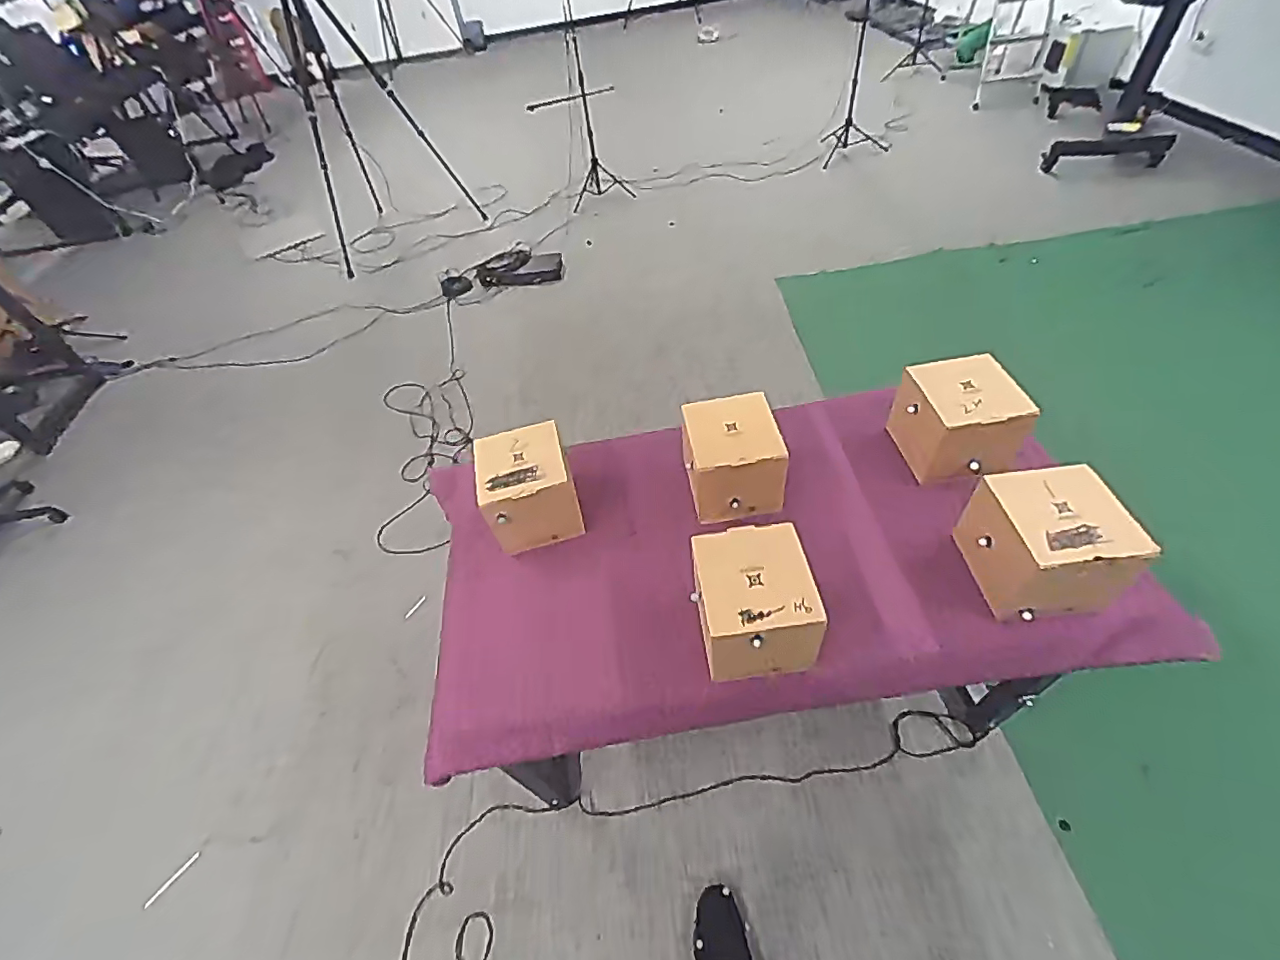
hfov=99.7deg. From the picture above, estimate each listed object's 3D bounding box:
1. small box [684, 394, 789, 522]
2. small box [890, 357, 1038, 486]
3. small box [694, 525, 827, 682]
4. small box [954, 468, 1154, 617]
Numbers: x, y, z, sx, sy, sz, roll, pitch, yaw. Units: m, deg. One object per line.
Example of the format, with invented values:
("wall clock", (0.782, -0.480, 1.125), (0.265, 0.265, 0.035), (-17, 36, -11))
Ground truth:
("small box", (0.180, -0.041, 1.064), (0.168, 0.176, 0.179), (-9, 51, 0))
("small box", (0.615, -0.112, 1.058), (0.168, 0.176, 0.179), (-9, 50, 2))
("small box", (0.179, 0.197, 0.860), (0.168, 0.176, 0.179), (-8, 48, 2))
("small box", (0.642, 0.107, 0.869), (0.168, 0.176, 0.179), (-7, 48, 4))
